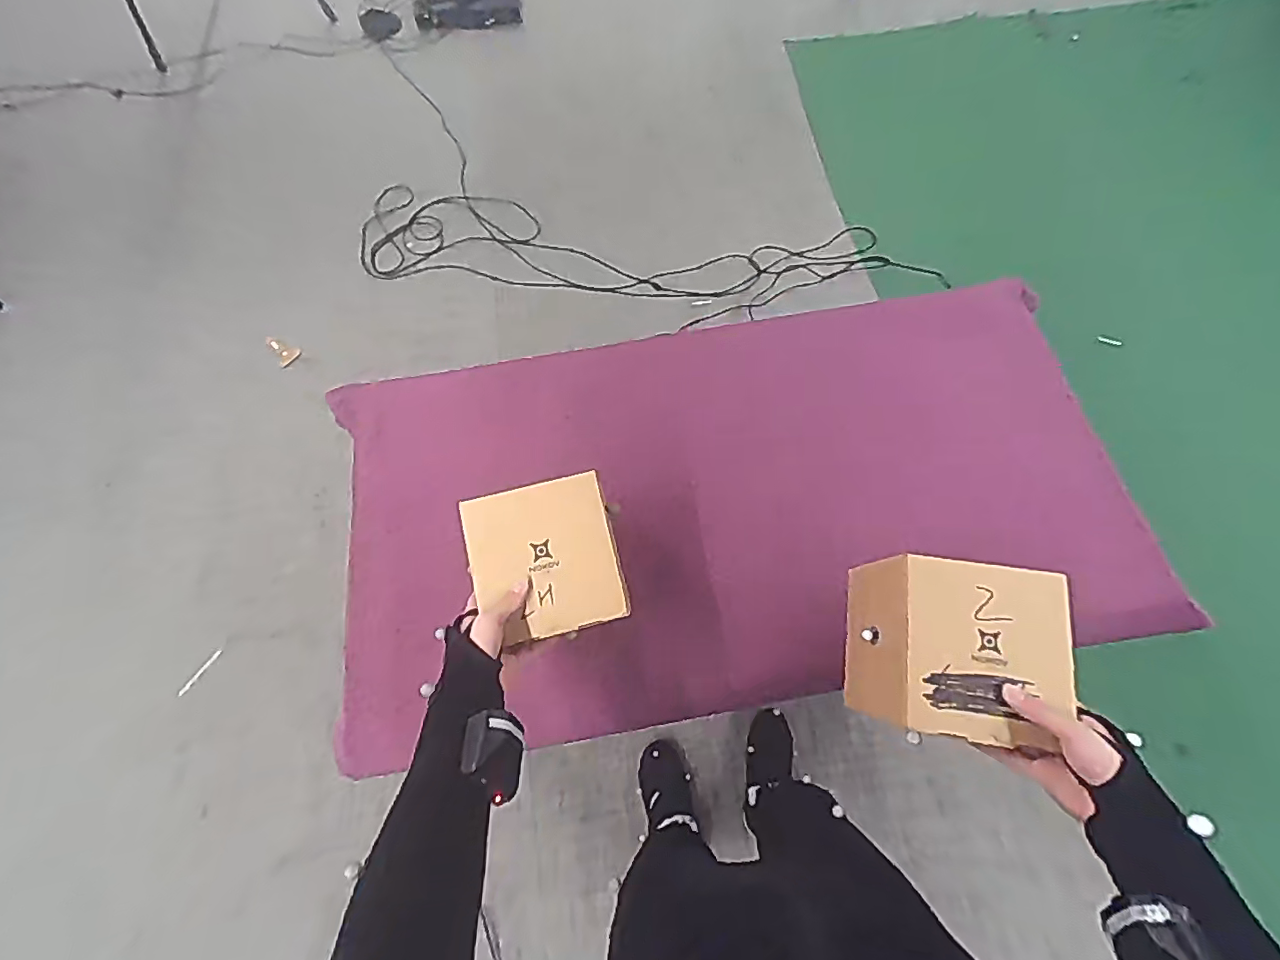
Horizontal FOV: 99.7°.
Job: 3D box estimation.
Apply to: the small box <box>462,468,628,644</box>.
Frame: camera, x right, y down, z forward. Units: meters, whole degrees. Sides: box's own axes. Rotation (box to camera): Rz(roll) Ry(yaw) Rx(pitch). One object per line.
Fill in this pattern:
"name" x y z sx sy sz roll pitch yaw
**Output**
"small box" -0.113 0.100 0.692 0.168 0.176 0.179 -12 79 -3
